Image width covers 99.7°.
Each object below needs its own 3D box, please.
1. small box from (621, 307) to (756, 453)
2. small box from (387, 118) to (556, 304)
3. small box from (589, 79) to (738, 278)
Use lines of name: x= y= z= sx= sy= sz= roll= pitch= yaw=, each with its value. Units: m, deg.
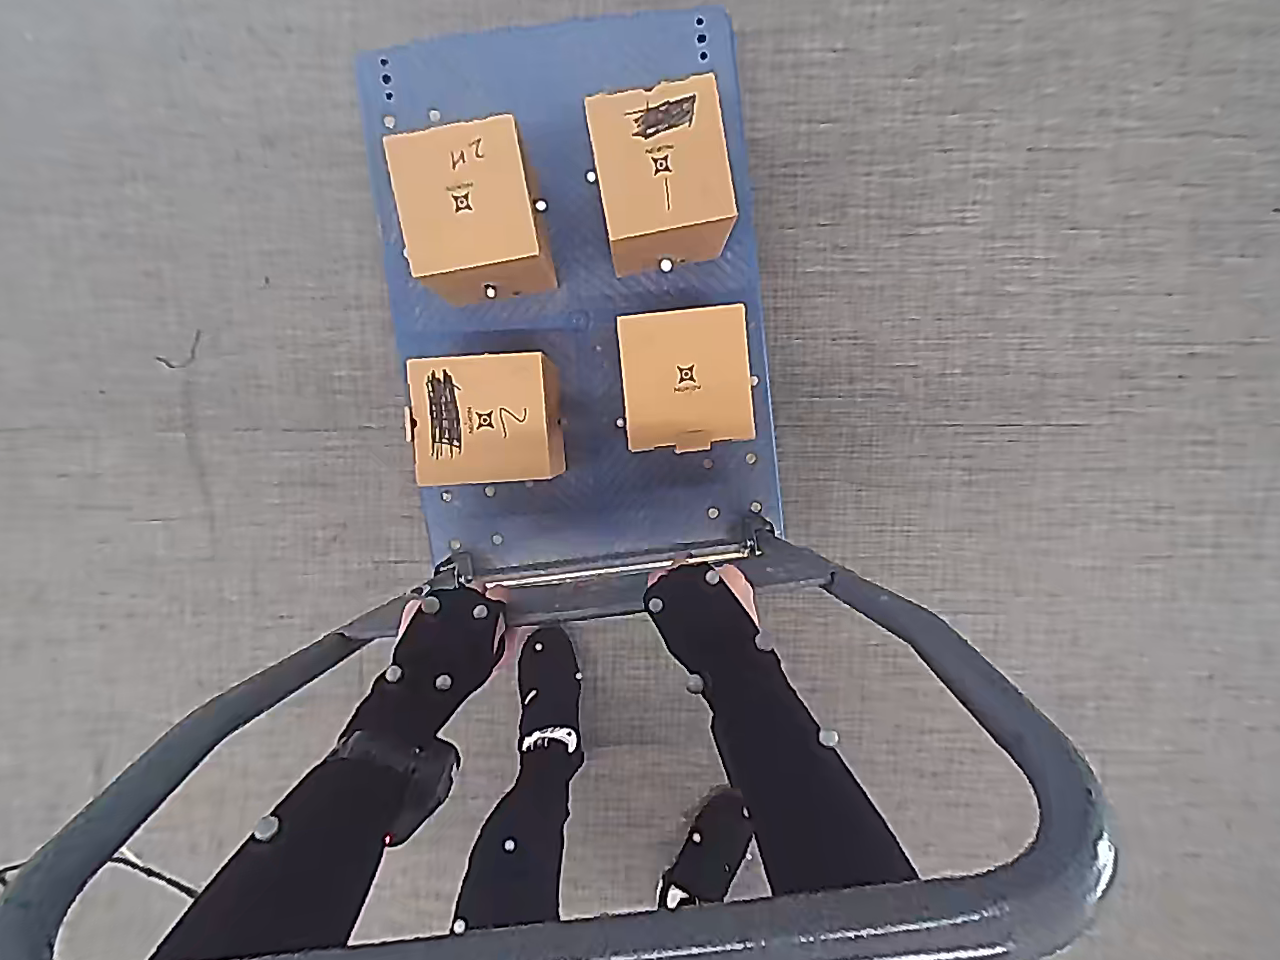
small box: x=0.061 y=-0.134 z=0.772 sx=0.168 sy=0.176 sz=0.179 roll=-6 pitch=95 yaw=0
small box: x=-0.219 y=-0.355 z=0.752 sx=0.168 sy=0.176 sz=0.179 roll=-10 pitch=95 yaw=0
small box: x=0.029 y=-0.401 z=0.749 sx=0.168 sy=0.176 sz=0.179 roll=-10 pitch=95 yaw=1
